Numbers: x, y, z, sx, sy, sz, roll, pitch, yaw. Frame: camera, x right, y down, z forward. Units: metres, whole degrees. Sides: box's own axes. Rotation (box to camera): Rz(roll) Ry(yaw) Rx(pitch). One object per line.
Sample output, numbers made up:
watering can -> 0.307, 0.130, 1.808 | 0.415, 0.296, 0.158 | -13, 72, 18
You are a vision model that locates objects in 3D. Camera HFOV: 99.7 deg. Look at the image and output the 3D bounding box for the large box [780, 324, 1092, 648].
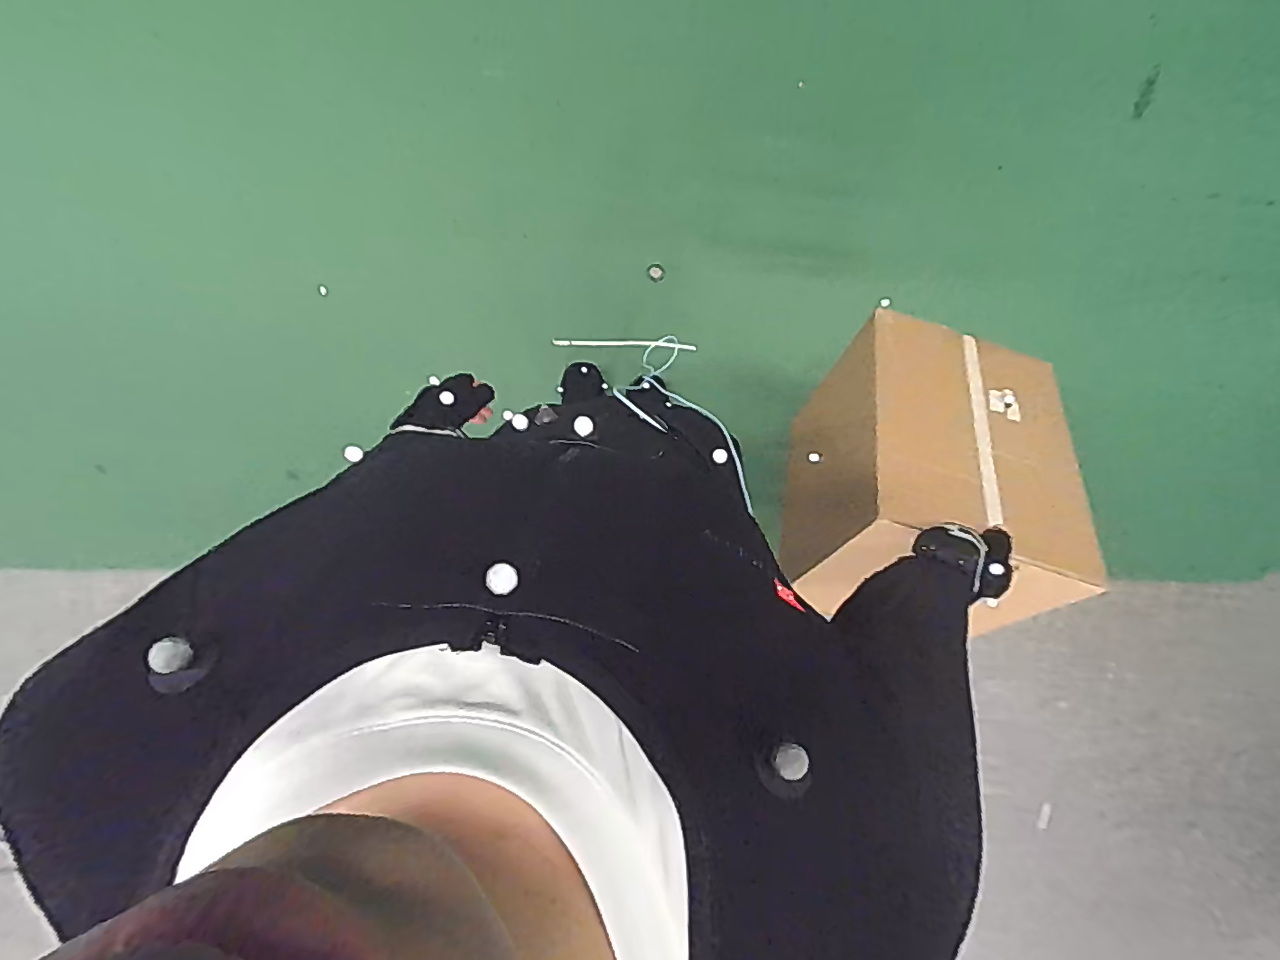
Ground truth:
large box -> 0.452, 0.022, 0.919 | 0.320, 0.408, 0.320 | 18, 147, -4
